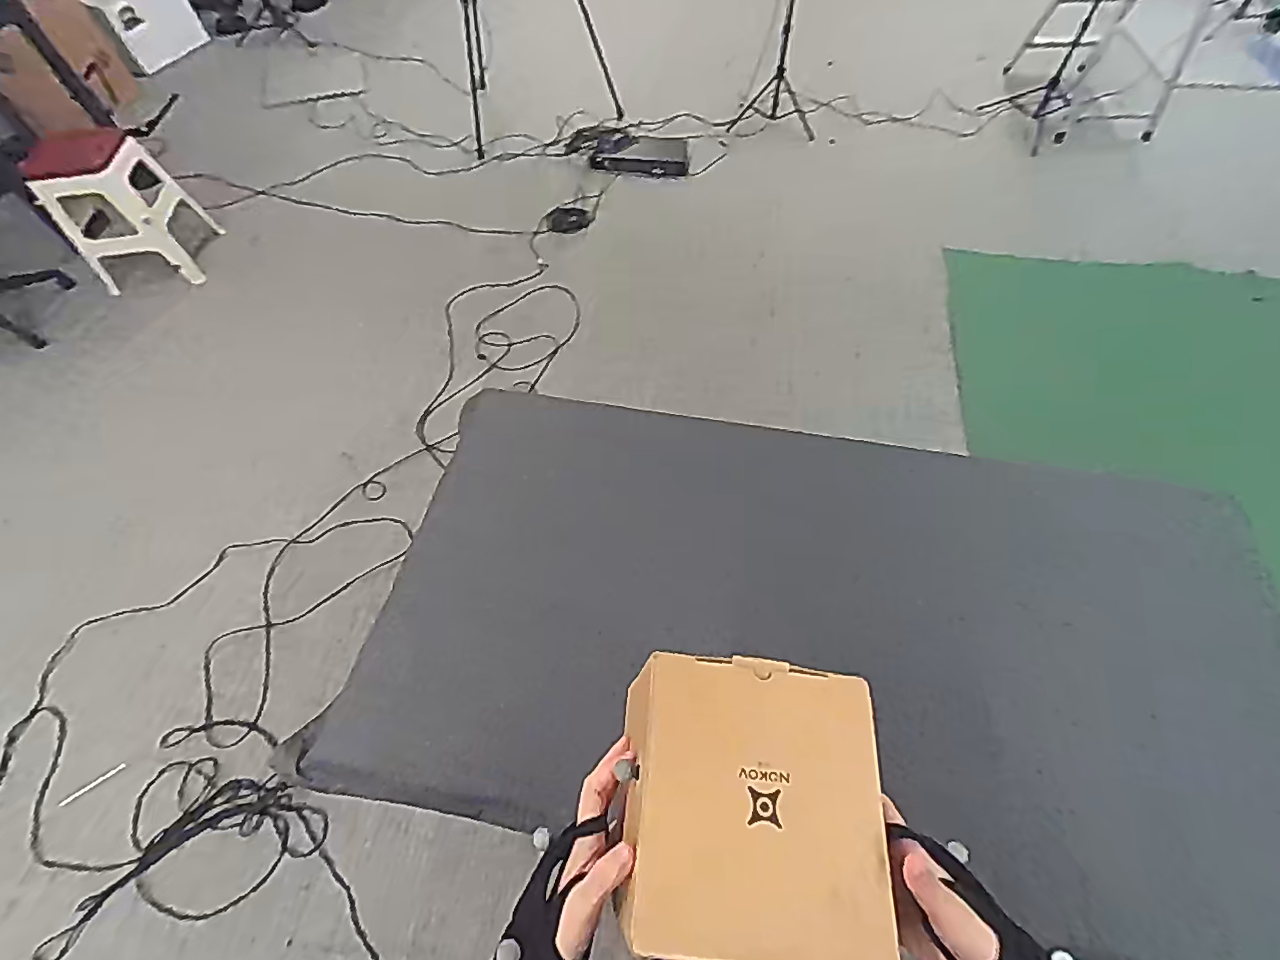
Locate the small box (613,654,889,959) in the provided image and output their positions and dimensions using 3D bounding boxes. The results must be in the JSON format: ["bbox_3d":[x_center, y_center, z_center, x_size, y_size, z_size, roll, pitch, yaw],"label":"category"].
[{"bbox_3d":[0.071,0.256,0.434,0.168,0.176,0.179,8,58,-3],"label":"small box"}]
